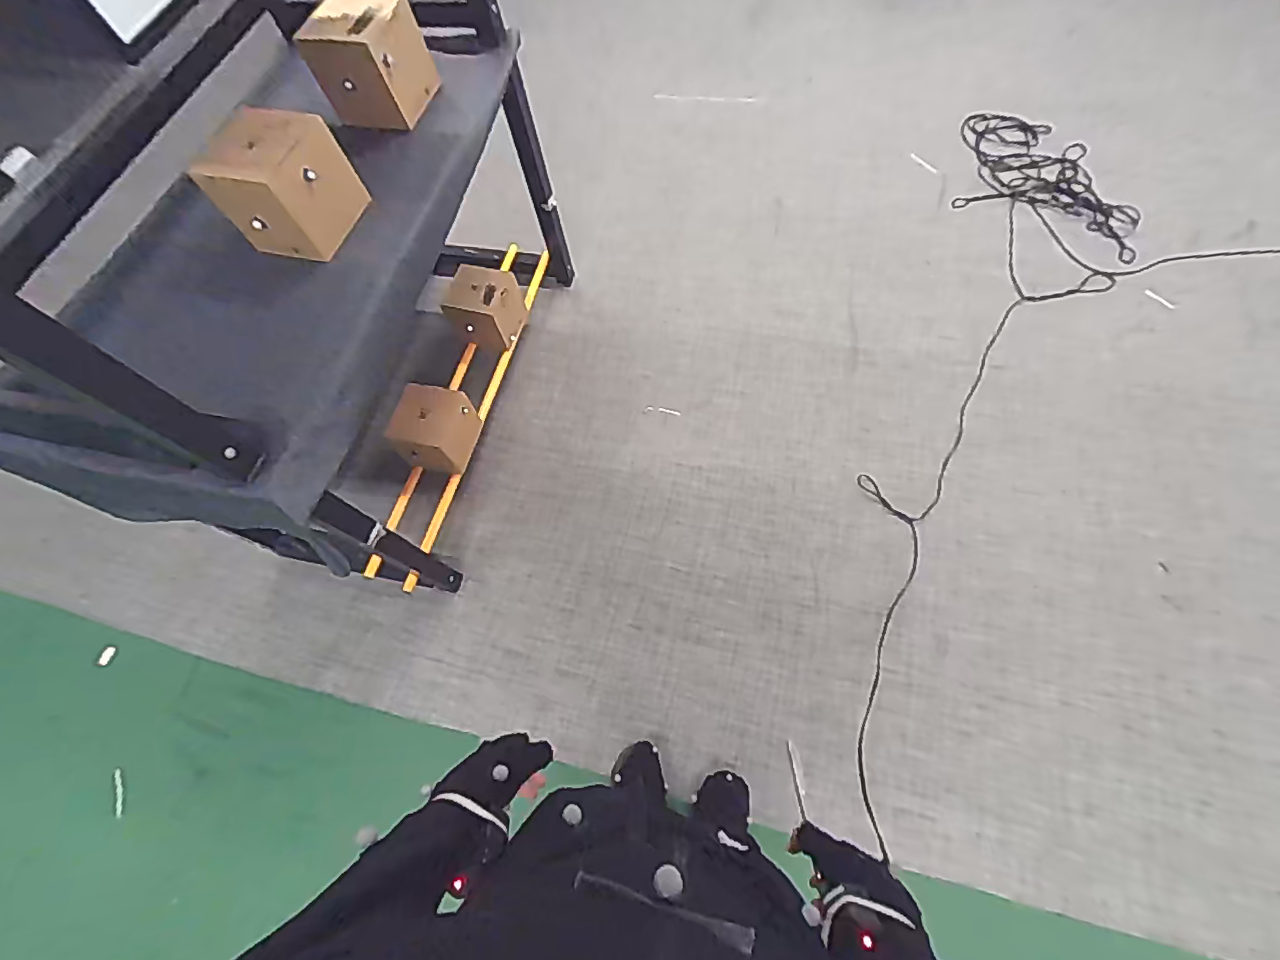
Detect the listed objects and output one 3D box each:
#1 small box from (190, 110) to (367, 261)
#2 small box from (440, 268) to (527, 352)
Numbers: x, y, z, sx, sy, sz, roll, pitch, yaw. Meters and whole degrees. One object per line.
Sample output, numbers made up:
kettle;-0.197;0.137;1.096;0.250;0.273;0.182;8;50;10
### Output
small box;-0.636;-0.527;0.980;0.168;0.176;0.179;13;67;11
small box;-0.467;-0.513;1.646;0.179;0.176;0.168;13;67;11
